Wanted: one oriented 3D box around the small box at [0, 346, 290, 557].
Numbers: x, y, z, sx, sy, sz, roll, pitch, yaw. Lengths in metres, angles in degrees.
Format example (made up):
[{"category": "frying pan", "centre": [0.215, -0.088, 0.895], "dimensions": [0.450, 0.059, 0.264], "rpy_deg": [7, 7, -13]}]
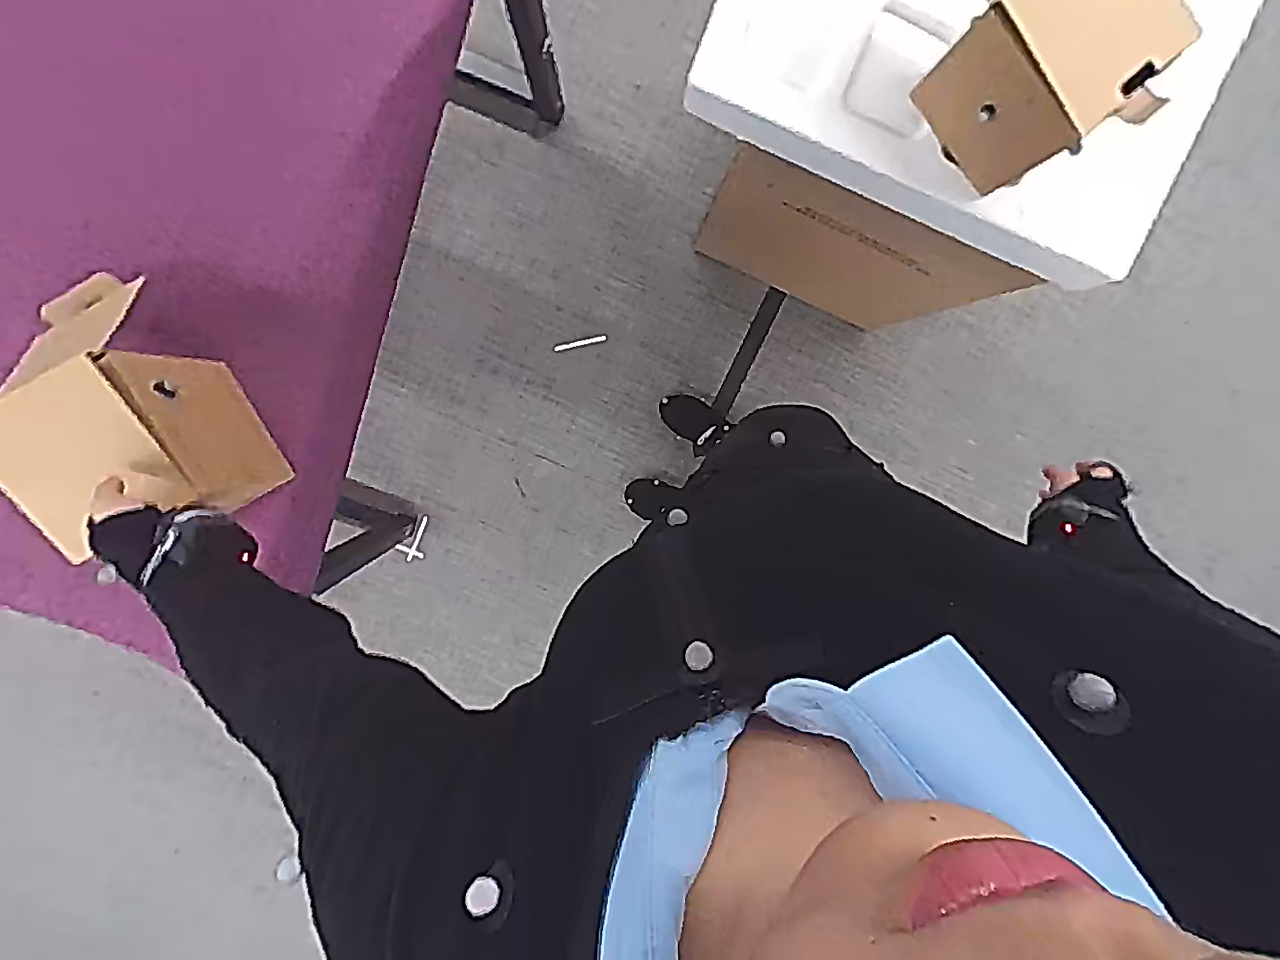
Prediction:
[{"category": "small box", "centre": [-0.579, -0.037, 0.649], "dimensions": [0.168, 0.176, 0.179], "rpy_deg": [-28, 97, 3]}]
